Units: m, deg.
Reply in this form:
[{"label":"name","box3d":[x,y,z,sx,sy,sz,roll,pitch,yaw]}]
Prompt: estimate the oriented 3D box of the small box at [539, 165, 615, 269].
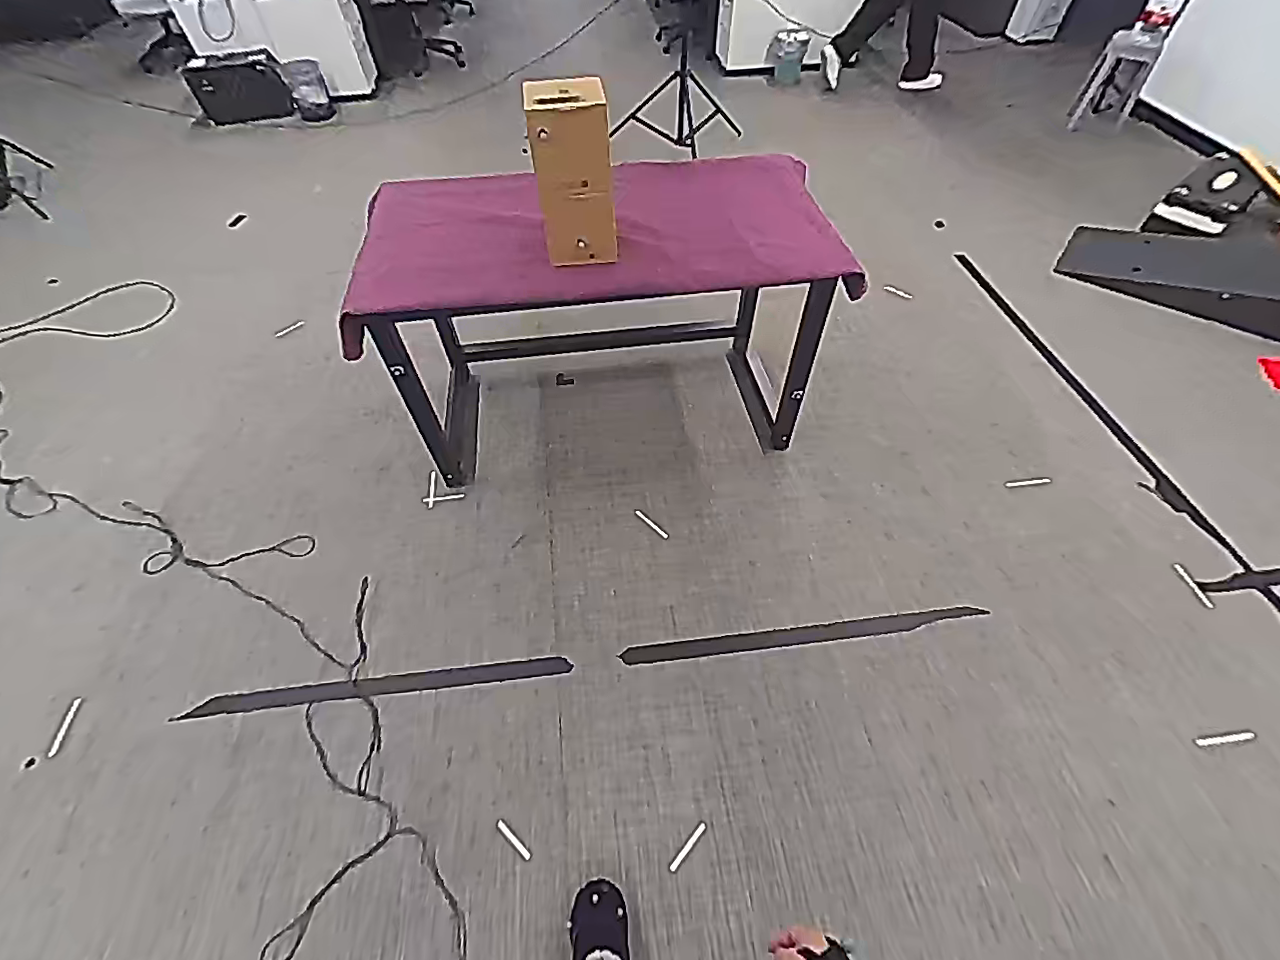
[{"label":"small box","box3d":[-0.150,-0.637,1.314,0.168,0.176,0.179,-5,52,-2]}]
